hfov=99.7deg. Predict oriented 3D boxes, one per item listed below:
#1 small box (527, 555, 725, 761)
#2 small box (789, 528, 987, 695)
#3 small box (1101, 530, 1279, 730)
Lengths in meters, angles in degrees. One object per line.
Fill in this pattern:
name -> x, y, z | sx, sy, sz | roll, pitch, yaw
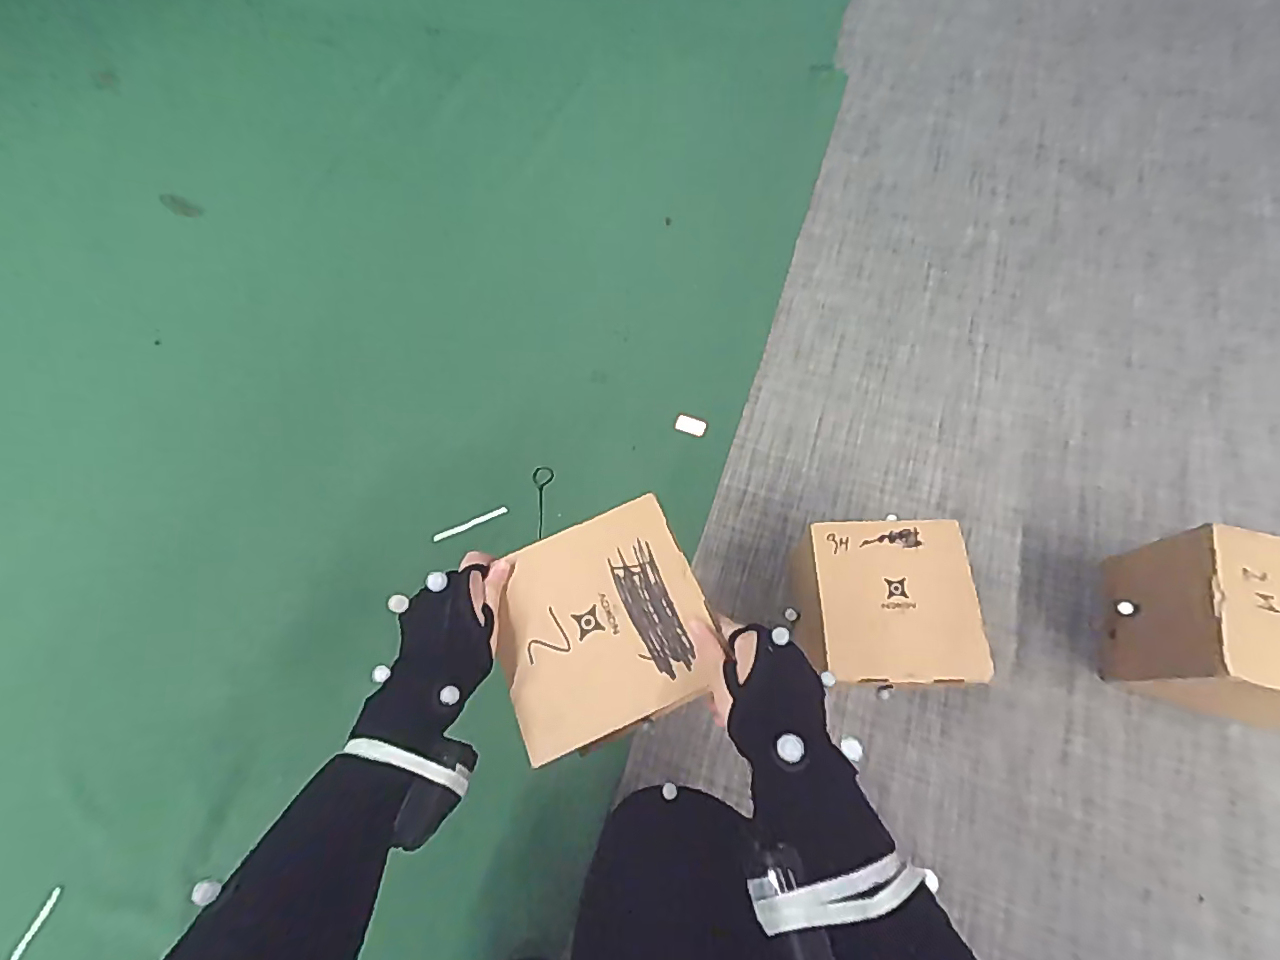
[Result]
small box -> -0.012, 0.219, 0.663 | 0.179, 0.176, 0.168 | -25, 68, -6
small box -> 0.281, 0.164, 0.657 | 0.168, 0.176, 0.179 | -1, 68, 5
small box -> 0.677, 0.177, 0.611 | 0.179, 0.176, 0.168 | 14, 69, 10
